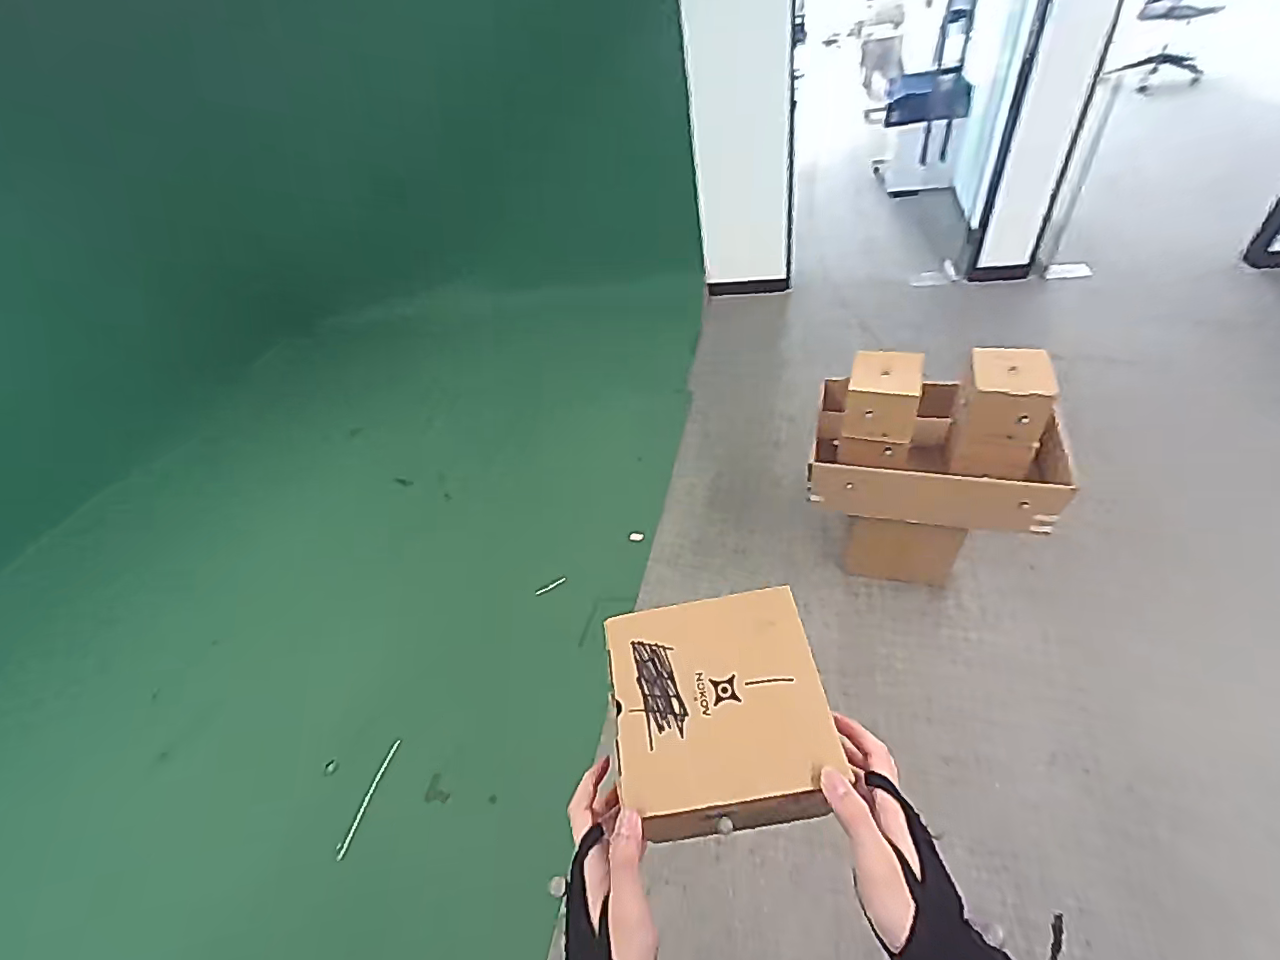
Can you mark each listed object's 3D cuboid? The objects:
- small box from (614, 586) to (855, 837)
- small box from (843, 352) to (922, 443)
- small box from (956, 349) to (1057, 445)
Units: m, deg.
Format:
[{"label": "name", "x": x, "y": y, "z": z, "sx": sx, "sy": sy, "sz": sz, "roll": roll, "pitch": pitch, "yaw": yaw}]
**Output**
[{"label": "small box", "x": 0.080, "y": 0.224, "z": 0.512, "sx": 0.179, "sy": 0.176, "sz": 0.168, "roll": -9, "pitch": 50, "yaw": 3}, {"label": "small box", "x": 0.639, "y": -0.217, "z": 1.432, "sx": 0.168, "sy": 0.176, "sz": 0.179, "roll": 9, "pitch": 49, "yaw": 22}, {"label": "small box", "x": 0.908, "y": -0.208, "z": 1.355, "sx": 0.168, "sy": 0.176, "sz": 0.179, "roll": 7, "pitch": 49, "yaw": 19}]
